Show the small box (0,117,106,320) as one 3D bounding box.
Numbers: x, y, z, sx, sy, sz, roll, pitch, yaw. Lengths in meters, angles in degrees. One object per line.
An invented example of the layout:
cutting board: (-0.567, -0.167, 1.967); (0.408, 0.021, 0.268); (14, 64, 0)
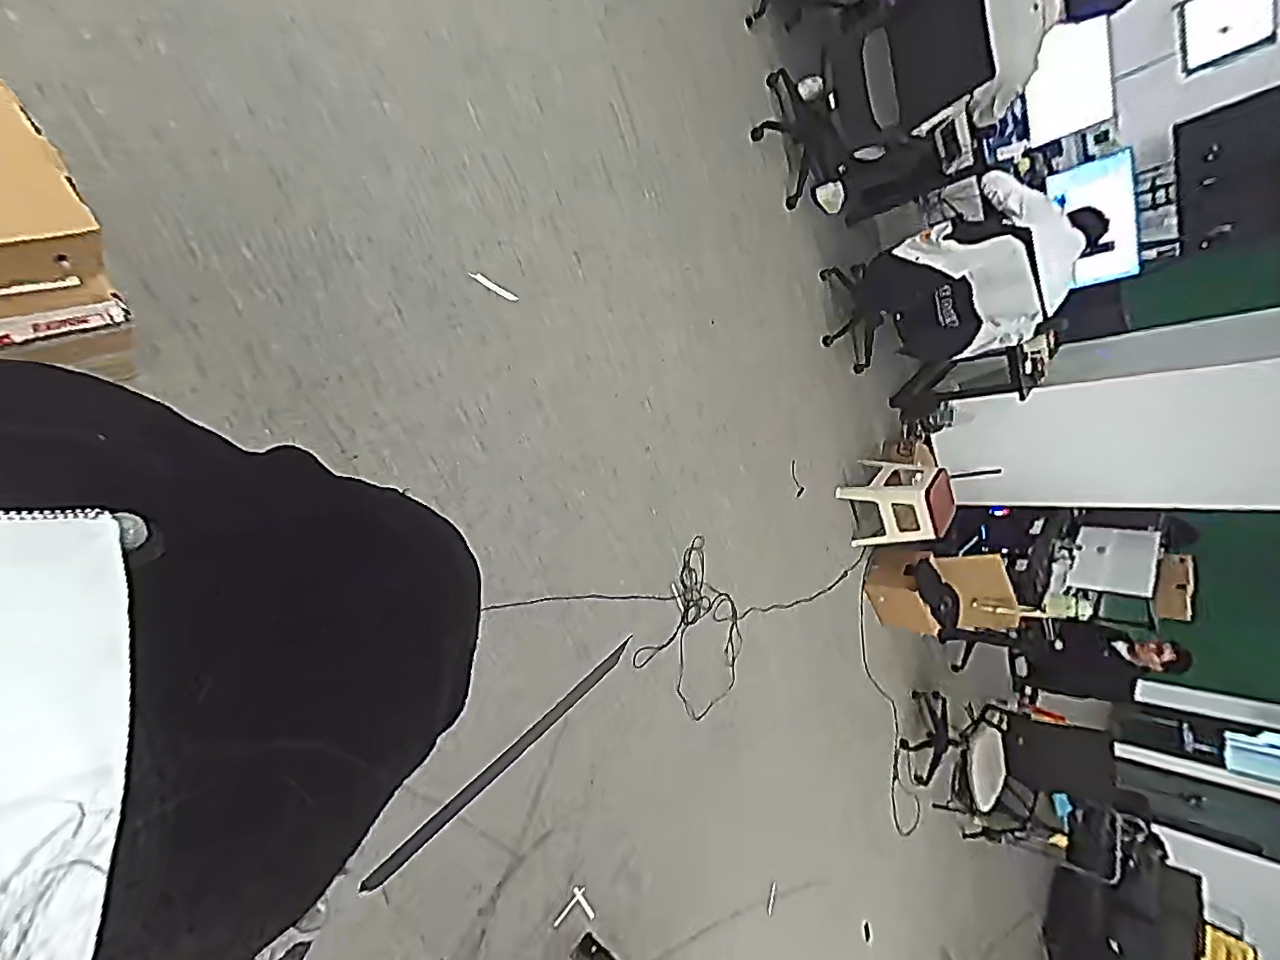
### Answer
small box: (-0.784, -0.291, 0.631); (0.179, 0.176, 0.168); (-38, 114, -38)
